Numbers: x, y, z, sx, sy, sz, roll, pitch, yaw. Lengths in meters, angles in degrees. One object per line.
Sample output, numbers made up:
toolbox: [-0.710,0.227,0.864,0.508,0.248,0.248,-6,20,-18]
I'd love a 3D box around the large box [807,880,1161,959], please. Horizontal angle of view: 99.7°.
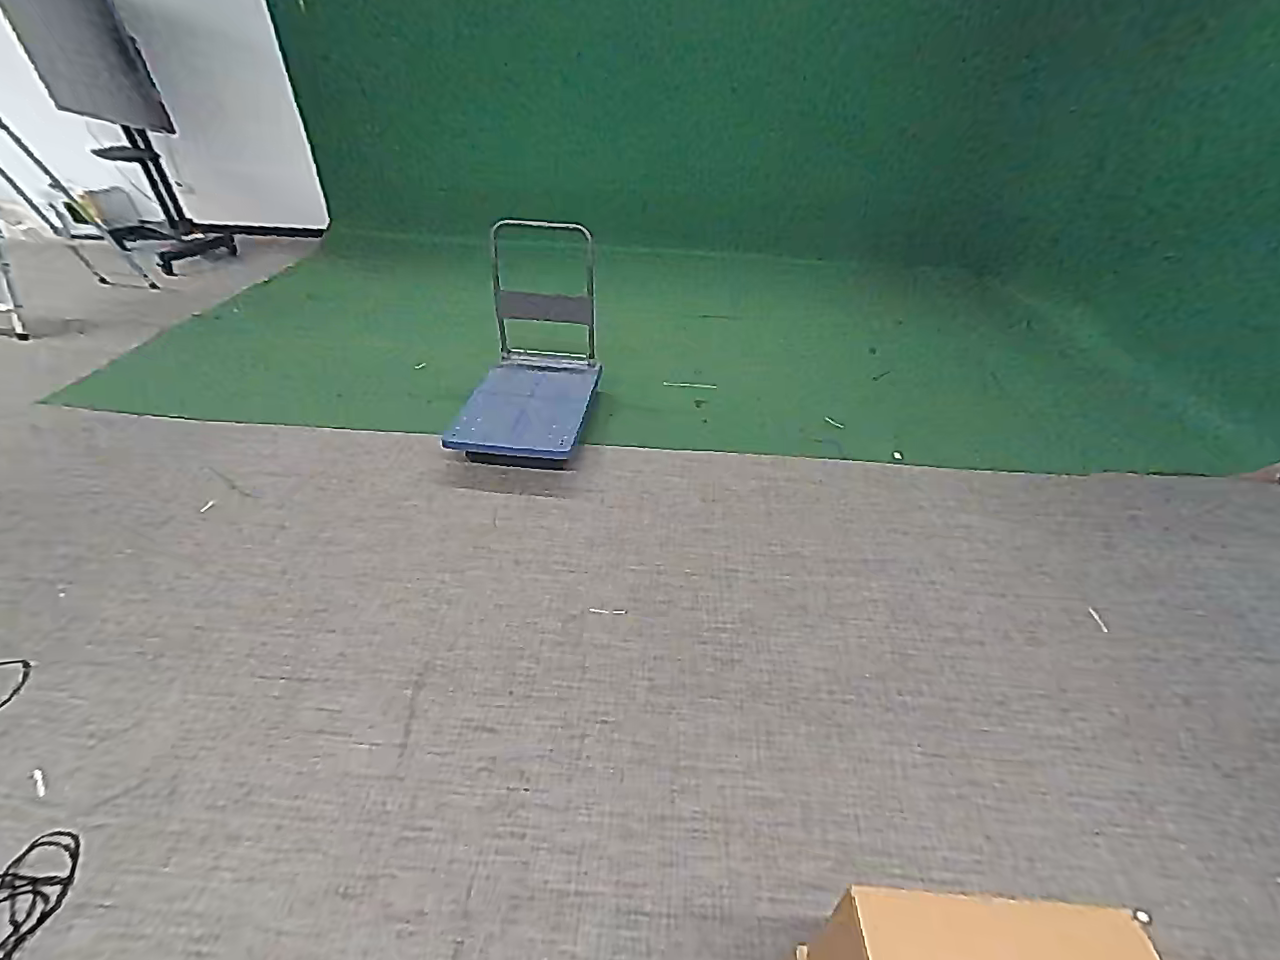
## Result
large box: [0.484,0.800,0.734,0.408,0.320,0.320,4,34,2]
